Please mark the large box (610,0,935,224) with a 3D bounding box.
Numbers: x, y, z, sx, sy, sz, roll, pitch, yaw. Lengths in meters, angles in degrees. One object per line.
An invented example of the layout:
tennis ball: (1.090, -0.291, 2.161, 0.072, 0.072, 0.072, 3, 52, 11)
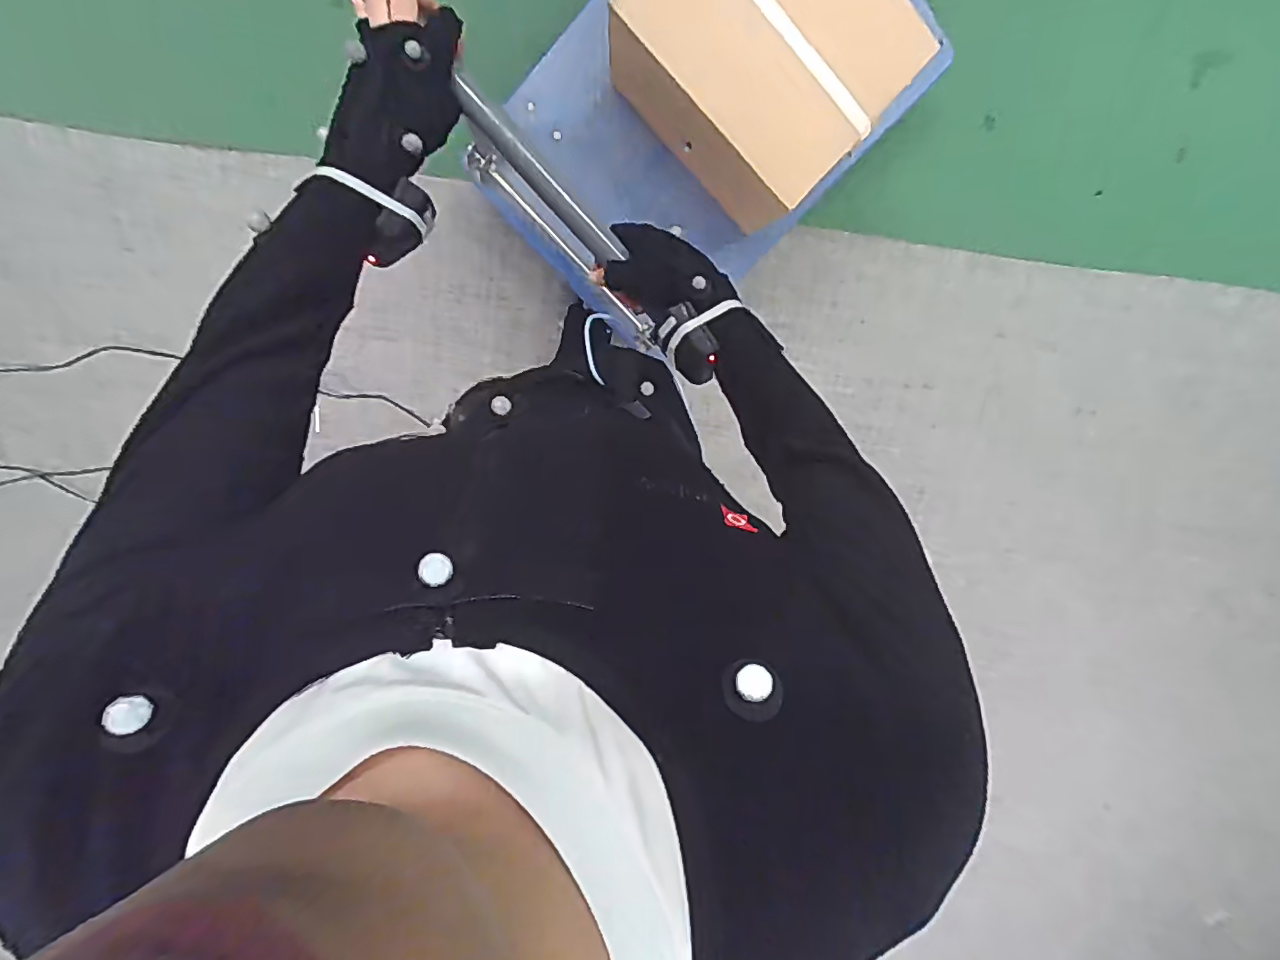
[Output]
large box: (0.201, -0.730, 0.949, 0.408, 0.320, 0.320, 41, 102, -13)
